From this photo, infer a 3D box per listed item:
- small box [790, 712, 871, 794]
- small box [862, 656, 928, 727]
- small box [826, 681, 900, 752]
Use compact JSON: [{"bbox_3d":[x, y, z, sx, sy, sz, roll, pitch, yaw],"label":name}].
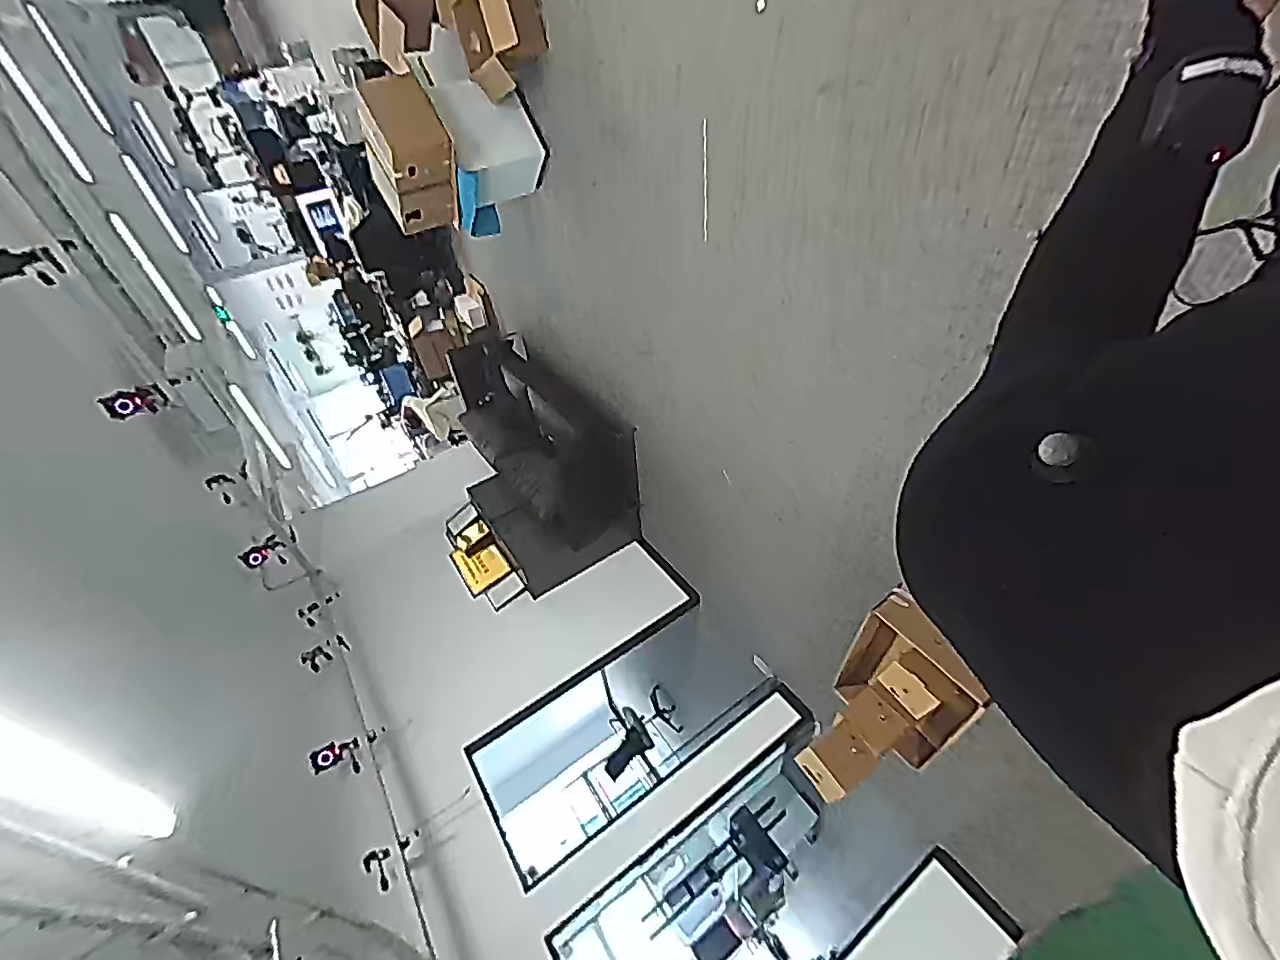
[{"bbox_3d":[0.640,0.917,1.818,0.168,0.176,0.179,49,152,28],"label":"small box"},{"bbox_3d":[0.902,0.774,1.950,0.168,0.176,0.179,43,150,36],"label":"small box"},{"bbox_3d":[0.771,0.841,1.883,0.168,0.176,0.179,44,150,37],"label":"small box"}]
